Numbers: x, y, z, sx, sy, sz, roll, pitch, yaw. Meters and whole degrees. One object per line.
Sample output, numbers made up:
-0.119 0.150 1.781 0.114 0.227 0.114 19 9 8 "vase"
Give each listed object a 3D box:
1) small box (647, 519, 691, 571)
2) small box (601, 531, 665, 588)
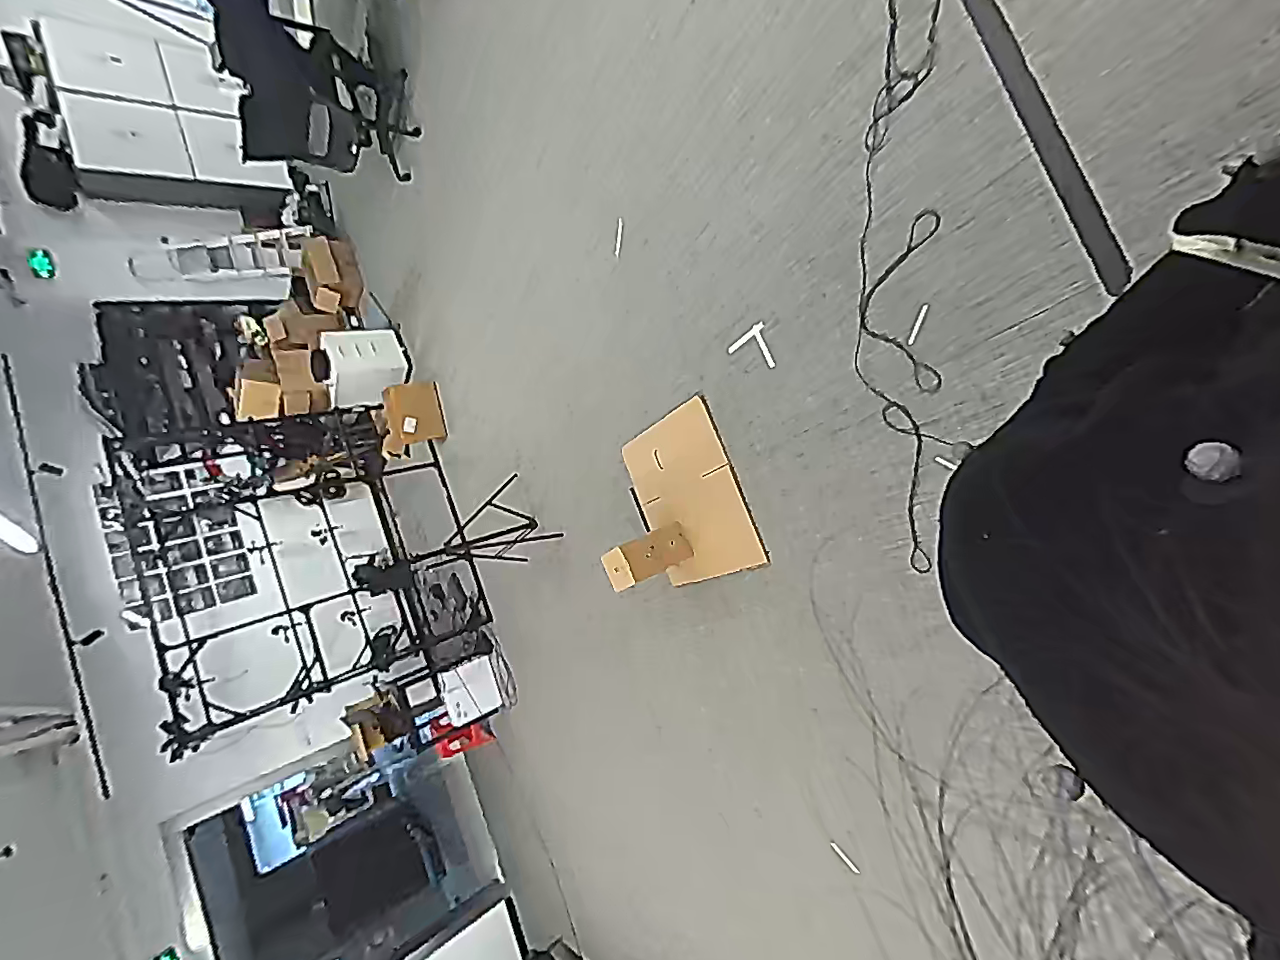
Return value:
0.098 0.286 2.343 0.179 0.176 0.168 -40 71 50 "small box"
-0.027 0.329 2.244 0.179 0.176 0.168 -38 74 51 "small box"
